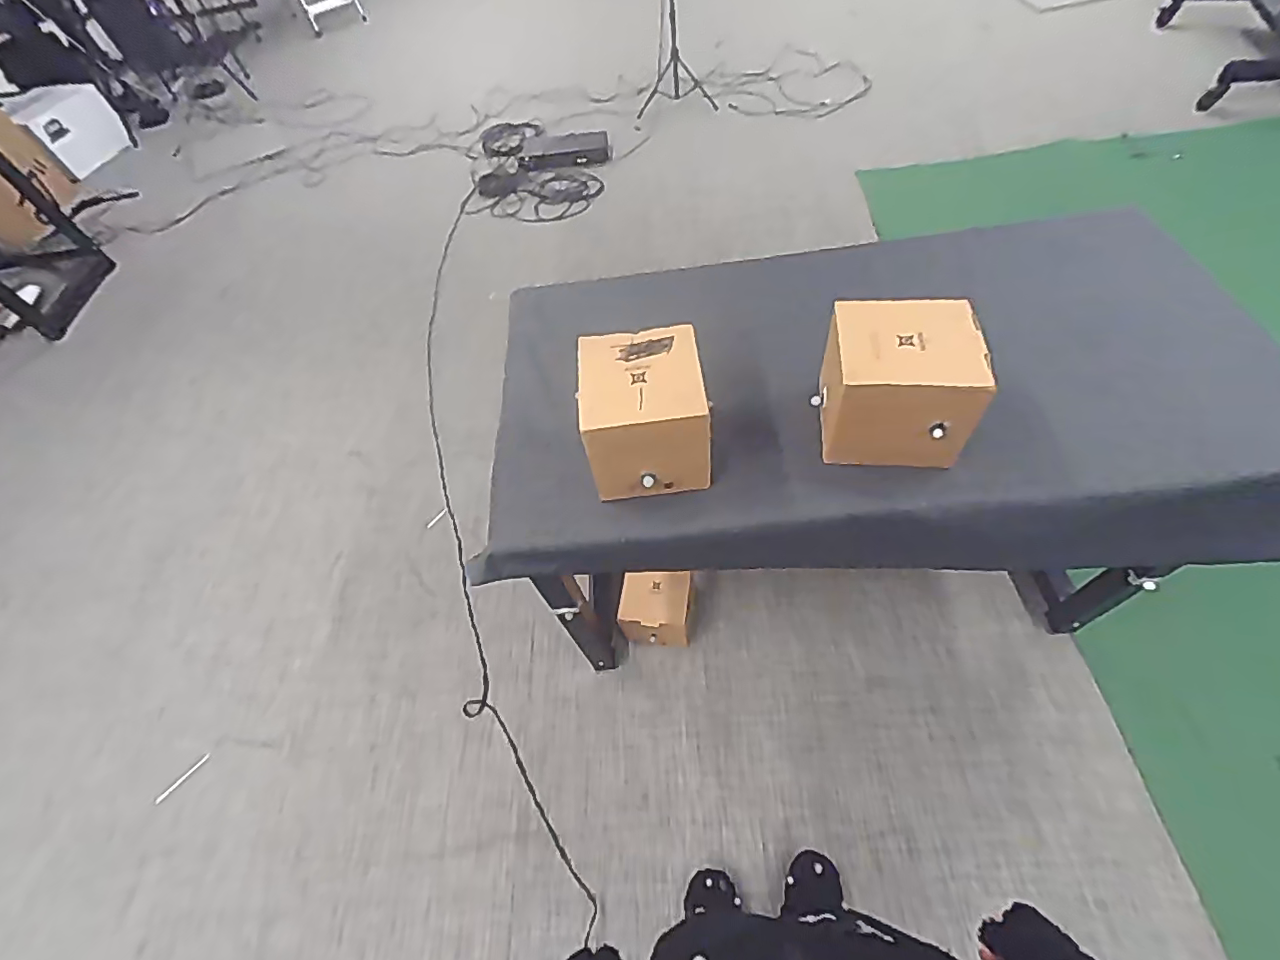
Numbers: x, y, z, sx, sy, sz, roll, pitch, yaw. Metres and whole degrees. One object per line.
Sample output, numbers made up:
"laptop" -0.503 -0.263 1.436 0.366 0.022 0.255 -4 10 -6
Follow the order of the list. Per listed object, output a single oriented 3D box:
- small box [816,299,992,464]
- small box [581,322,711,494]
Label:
"small box" 0.357 -0.136 0.771 0.179 0.176 0.168 2 55 10
"small box" 0.010 -0.101 0.787 0.168 0.176 0.179 -7 55 3
